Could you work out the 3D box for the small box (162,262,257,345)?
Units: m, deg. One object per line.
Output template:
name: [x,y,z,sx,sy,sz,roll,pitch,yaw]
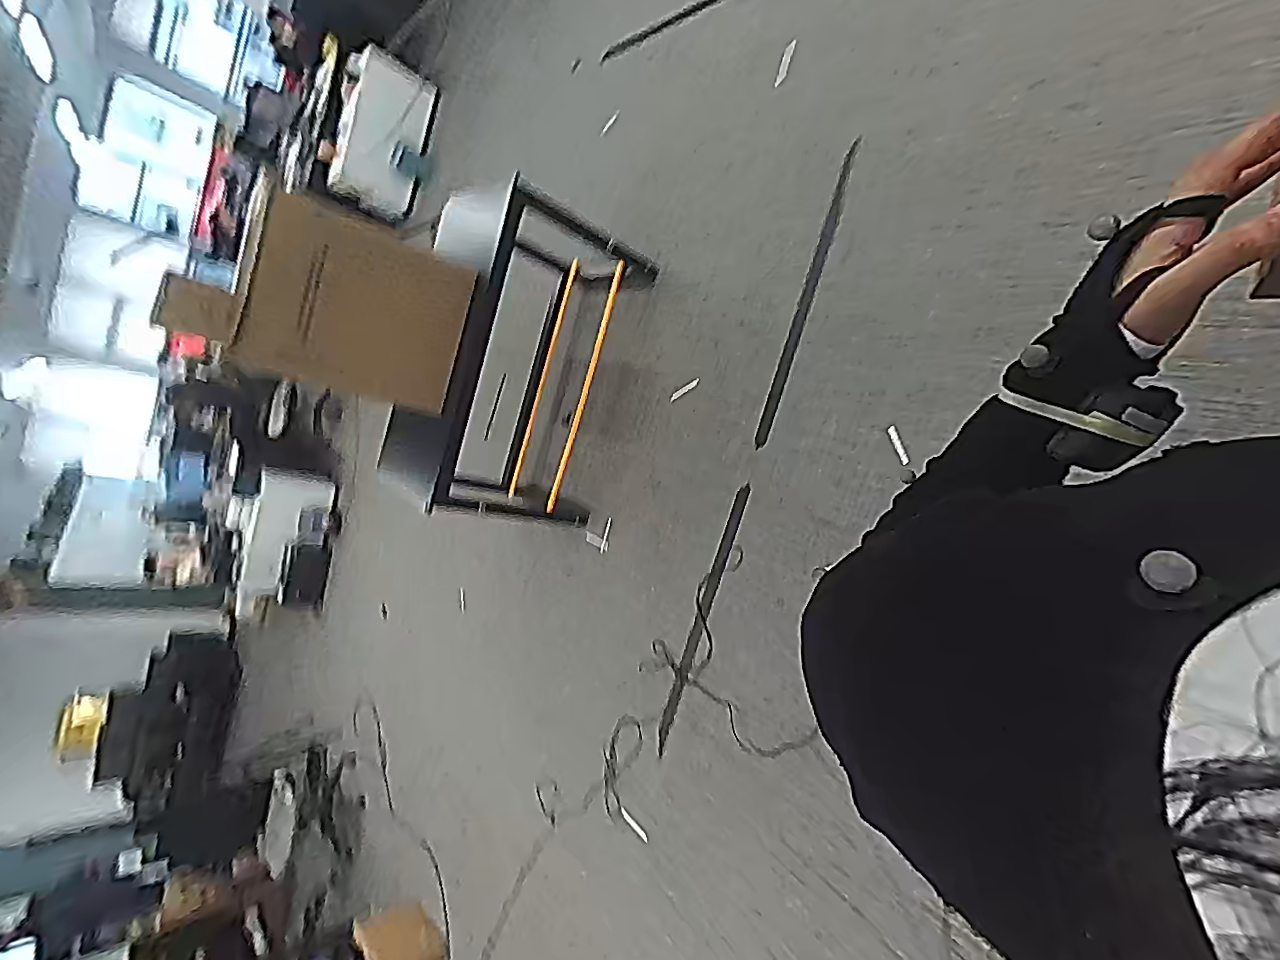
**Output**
small box: [-1.189,-0.483,1.498,0.179,0.176,0.168,16,90,44]
